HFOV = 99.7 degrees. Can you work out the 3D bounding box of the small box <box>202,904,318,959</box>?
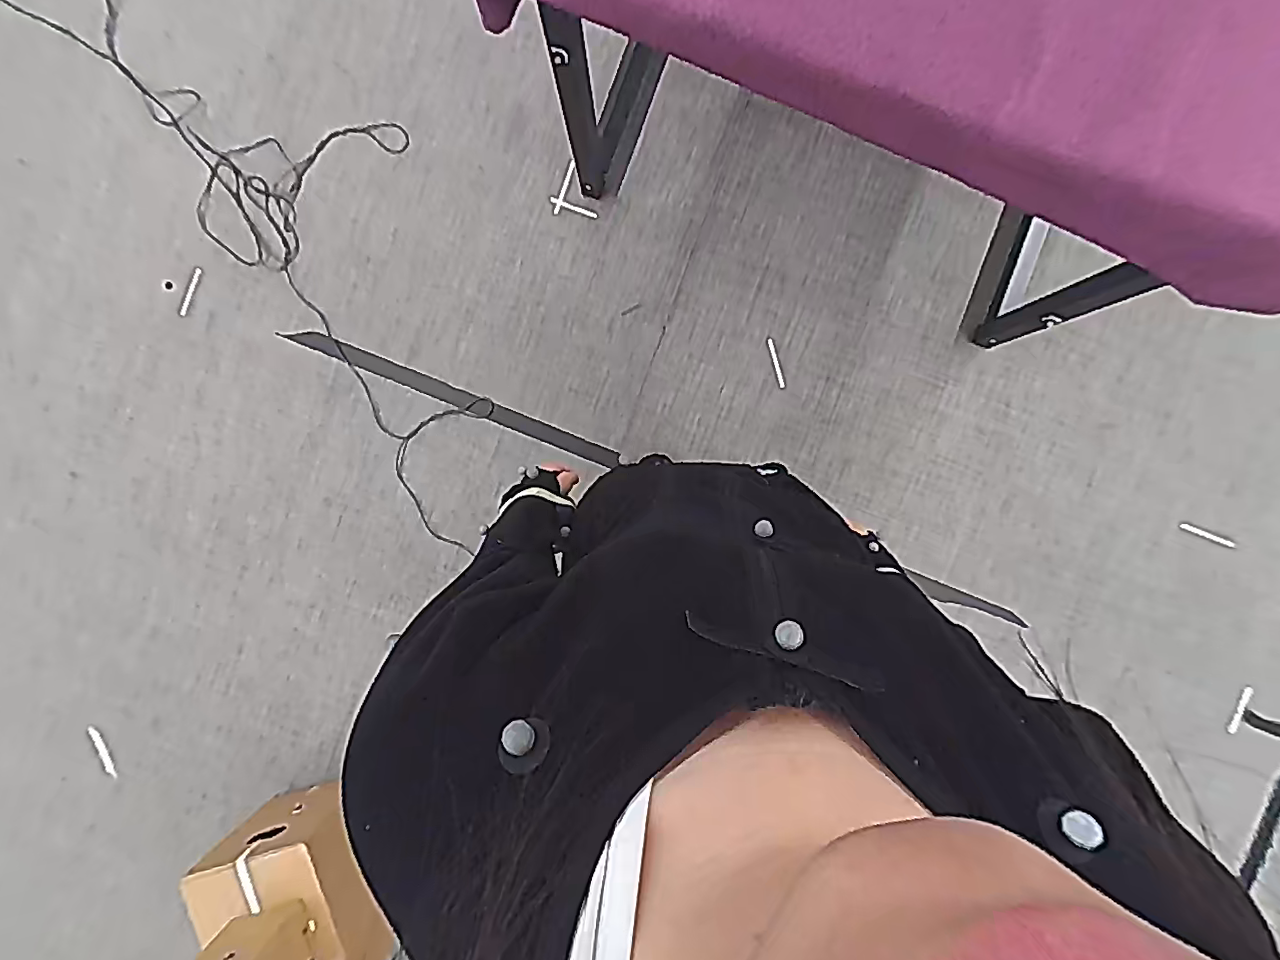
[{"bbox_3d":[-0.821,1.053,1.146,0.179,0.176,0.168,-17,91,2],"label":"small box"}]
